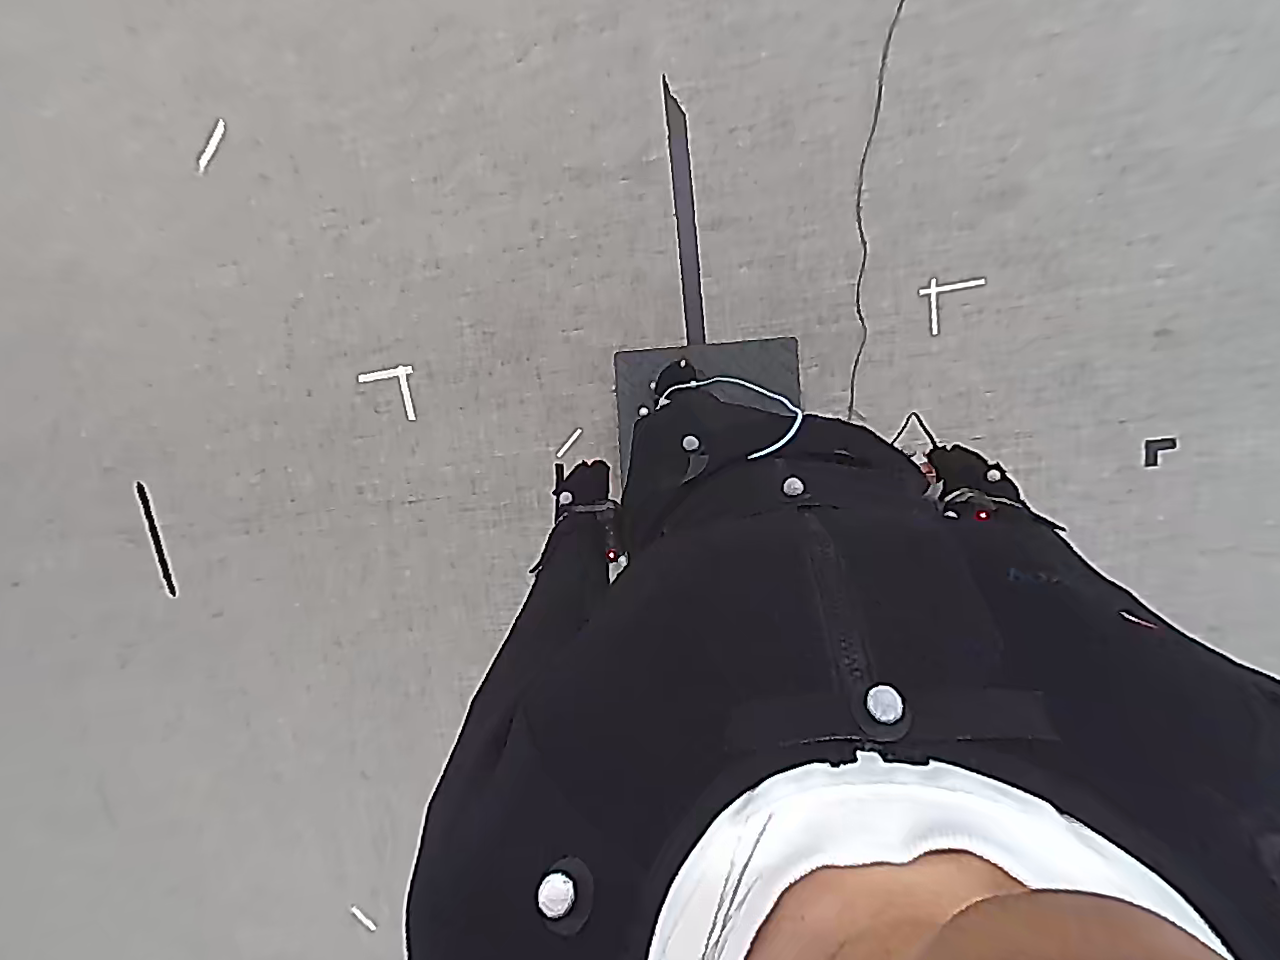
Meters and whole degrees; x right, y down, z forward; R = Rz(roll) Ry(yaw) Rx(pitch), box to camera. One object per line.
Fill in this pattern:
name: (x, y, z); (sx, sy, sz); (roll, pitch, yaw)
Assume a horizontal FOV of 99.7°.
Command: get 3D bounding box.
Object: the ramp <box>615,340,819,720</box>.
ramp: (0.197, 0.142, 1.456); (0.509, 0.206, 0.991); (-5, 99, 9)
